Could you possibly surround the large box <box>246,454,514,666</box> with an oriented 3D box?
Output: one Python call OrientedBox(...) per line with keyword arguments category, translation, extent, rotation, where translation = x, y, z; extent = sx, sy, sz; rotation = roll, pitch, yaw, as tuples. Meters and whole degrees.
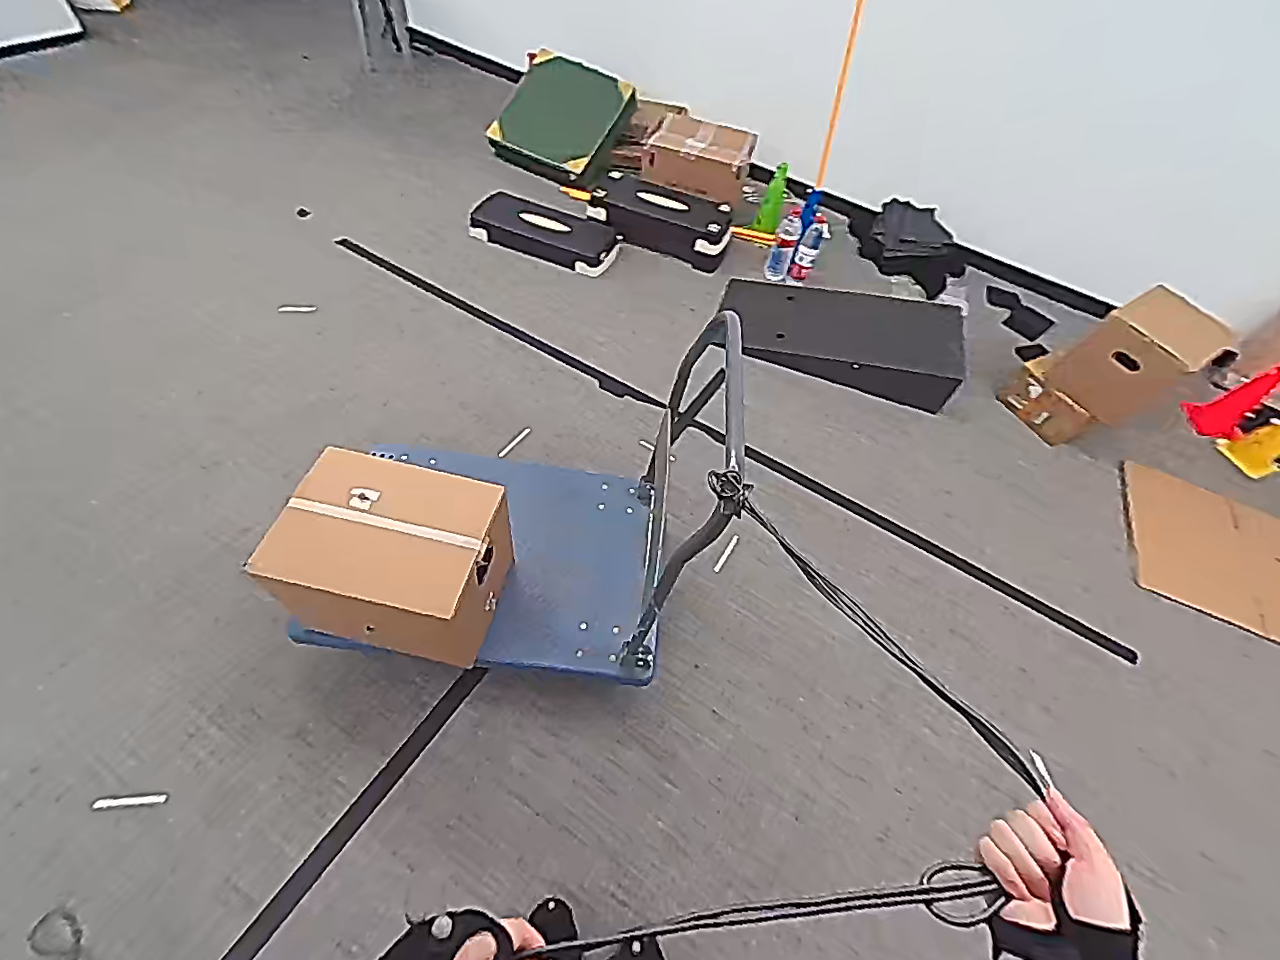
OrientedBox(category="large box", translation=(-0.527, 0.187, 1.205), extent=(0.408, 0.320, 0.320), rotation=(12, 53, 1))
